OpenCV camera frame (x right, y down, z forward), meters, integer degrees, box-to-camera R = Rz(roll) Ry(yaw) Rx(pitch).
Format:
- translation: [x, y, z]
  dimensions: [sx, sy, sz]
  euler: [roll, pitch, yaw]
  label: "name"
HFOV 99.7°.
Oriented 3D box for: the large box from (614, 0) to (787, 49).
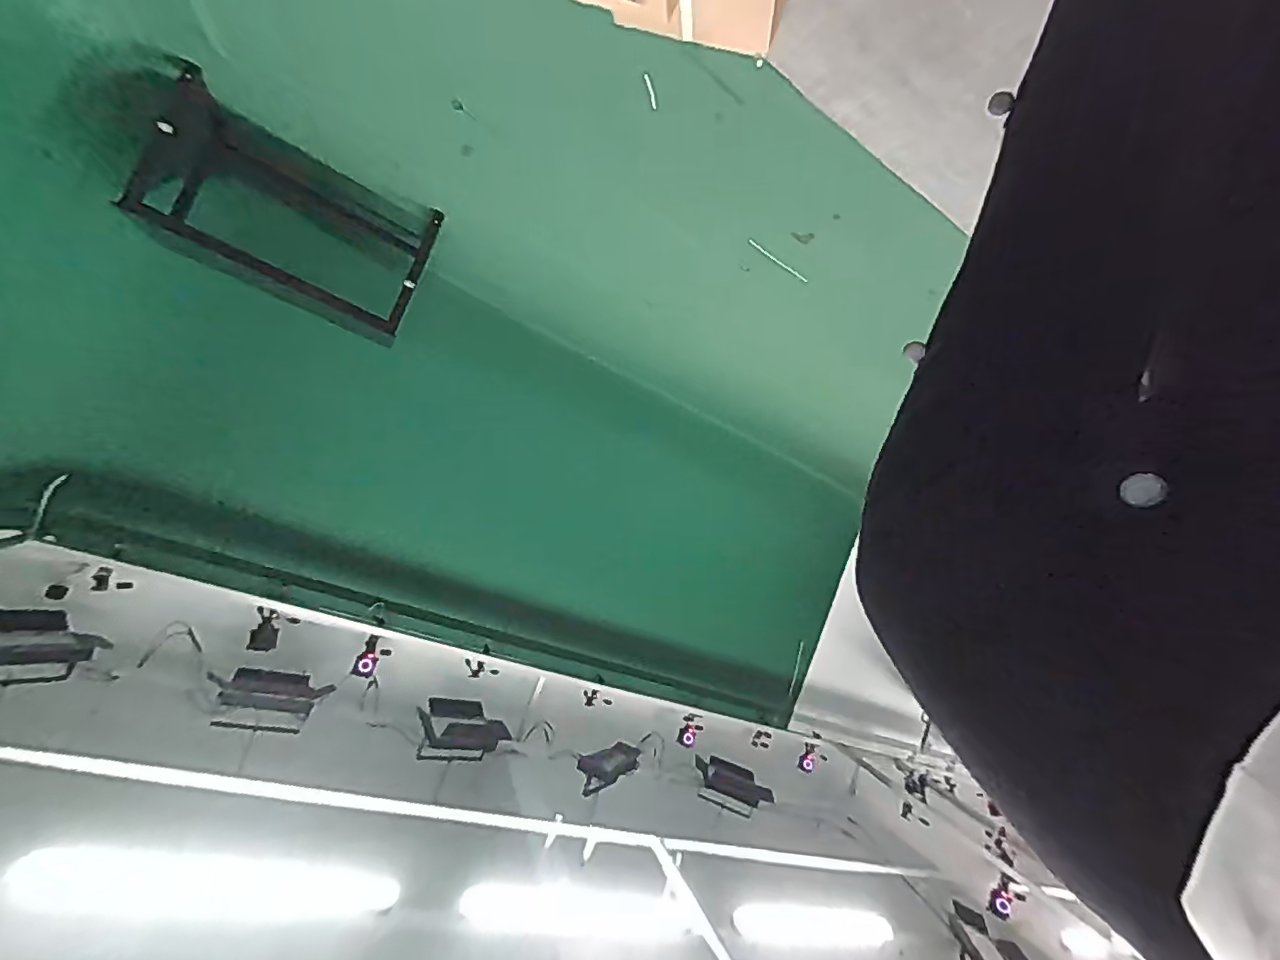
- translation: [0.123, -1.001, 0.828]
  dimensions: [0.320, 0.320, 0.408]
  euler: [21, 176, 9]
  label: "large box"
